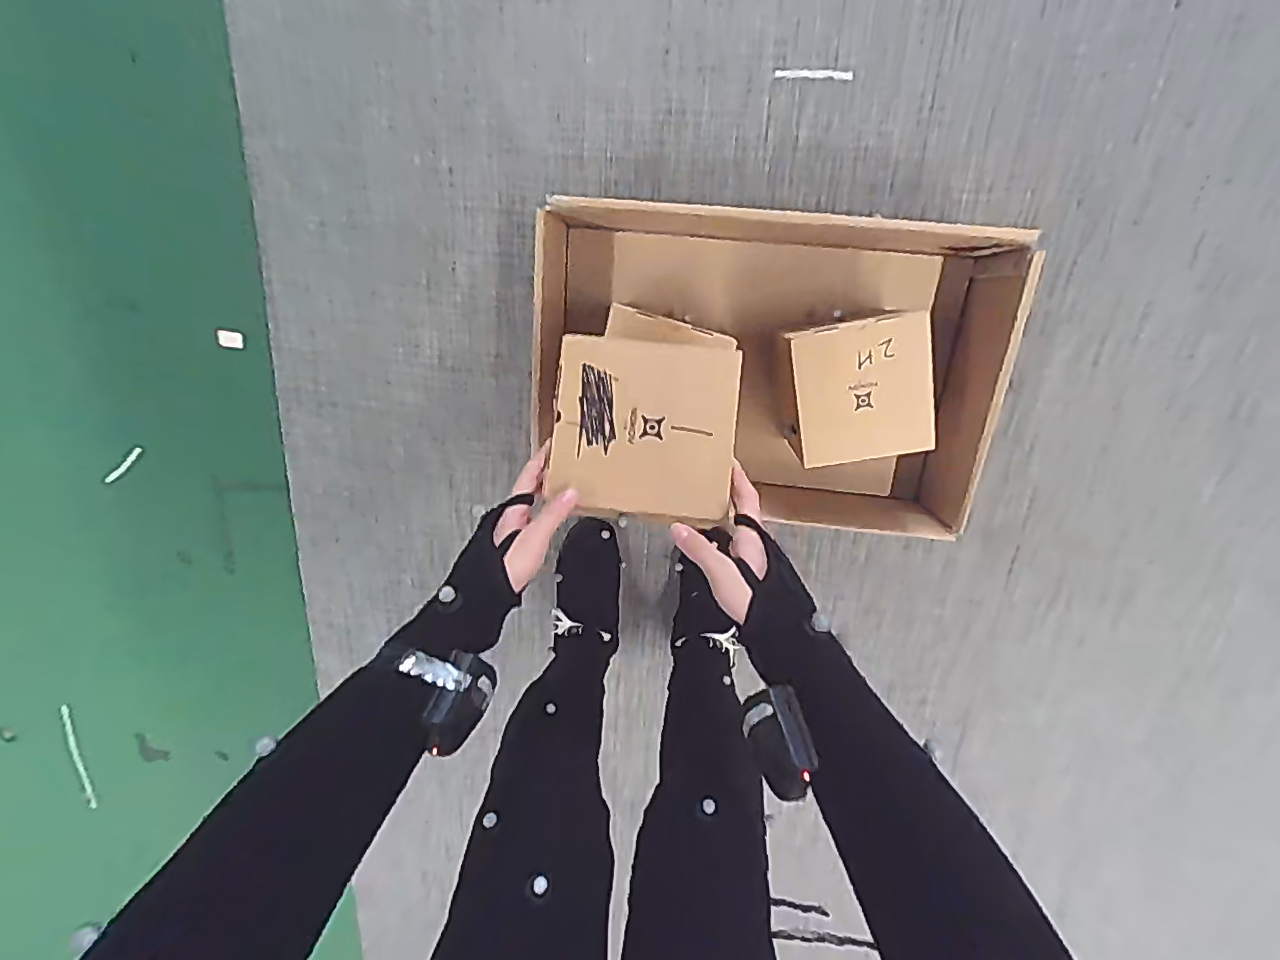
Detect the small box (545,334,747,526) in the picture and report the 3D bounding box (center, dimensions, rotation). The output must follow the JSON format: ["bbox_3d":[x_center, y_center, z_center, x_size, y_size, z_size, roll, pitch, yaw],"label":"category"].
[{"bbox_3d":[0.010,-0.041,0.583,0.179,0.176,0.168,6,83,2],"label":"small box"}]

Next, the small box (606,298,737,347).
[{"bbox_3d":[0.031,-0.149,0.775,0.168,0.176,0.179,16,107,0],"label":"small box"}]

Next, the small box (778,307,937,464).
[{"bbox_3d":[0.292,-0.138,0.750,0.168,0.176,0.179,-9,106,9],"label":"small box"}]
